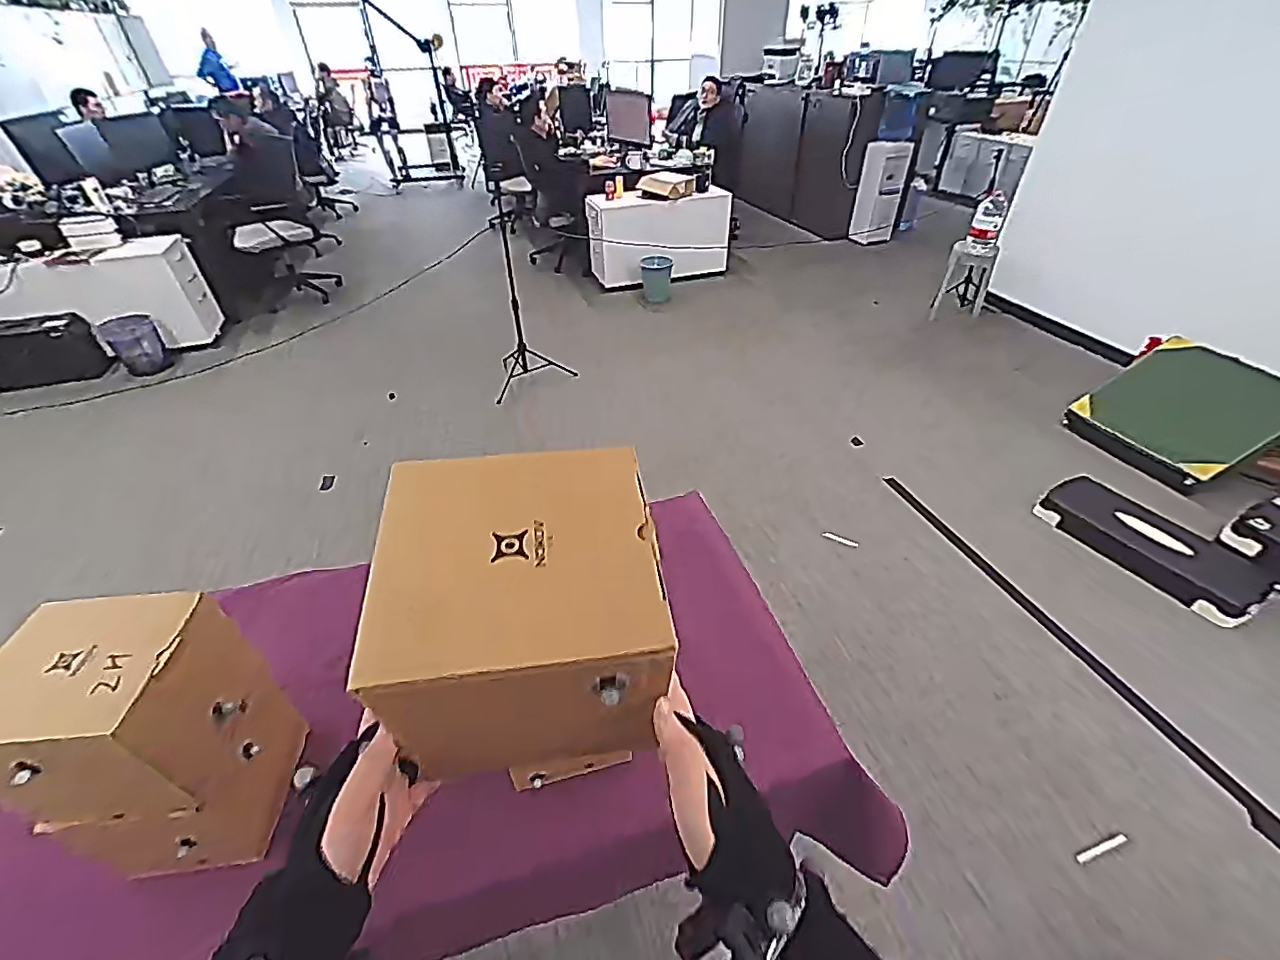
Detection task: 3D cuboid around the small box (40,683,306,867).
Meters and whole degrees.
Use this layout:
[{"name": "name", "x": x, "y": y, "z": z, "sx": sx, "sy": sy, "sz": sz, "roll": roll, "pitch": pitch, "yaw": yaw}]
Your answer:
[{"name": "small box", "x": -0.568, "y": 0.371, "z": 0.696, "sx": 0.168, "sy": 0.176, "sz": 0.179, "roll": -4, "pitch": 39, "yaw": -5}]

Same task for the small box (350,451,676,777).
[{"name": "small box", "x": -0.079, "y": 0.099, "z": 0.398, "sx": 0.179, "sy": 0.176, "sz": 0.168, "roll": -4, "pitch": 47, "yaw": -9}]

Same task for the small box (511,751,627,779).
[{"name": "small box", "x": -0.115, "y": 0.298, "z": 0.771, "sx": 0.168, "sy": 0.176, "sz": 0.179, "roll": -10, "pitch": 39, "yaw": -11}]

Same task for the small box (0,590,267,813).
[{"name": "small box", "x": -0.564, "y": 0.243, "z": 0.594, "sx": 0.179, "sy": 0.176, "sz": 0.168, "roll": -3, "pitch": 40, "yaw": -4}]
